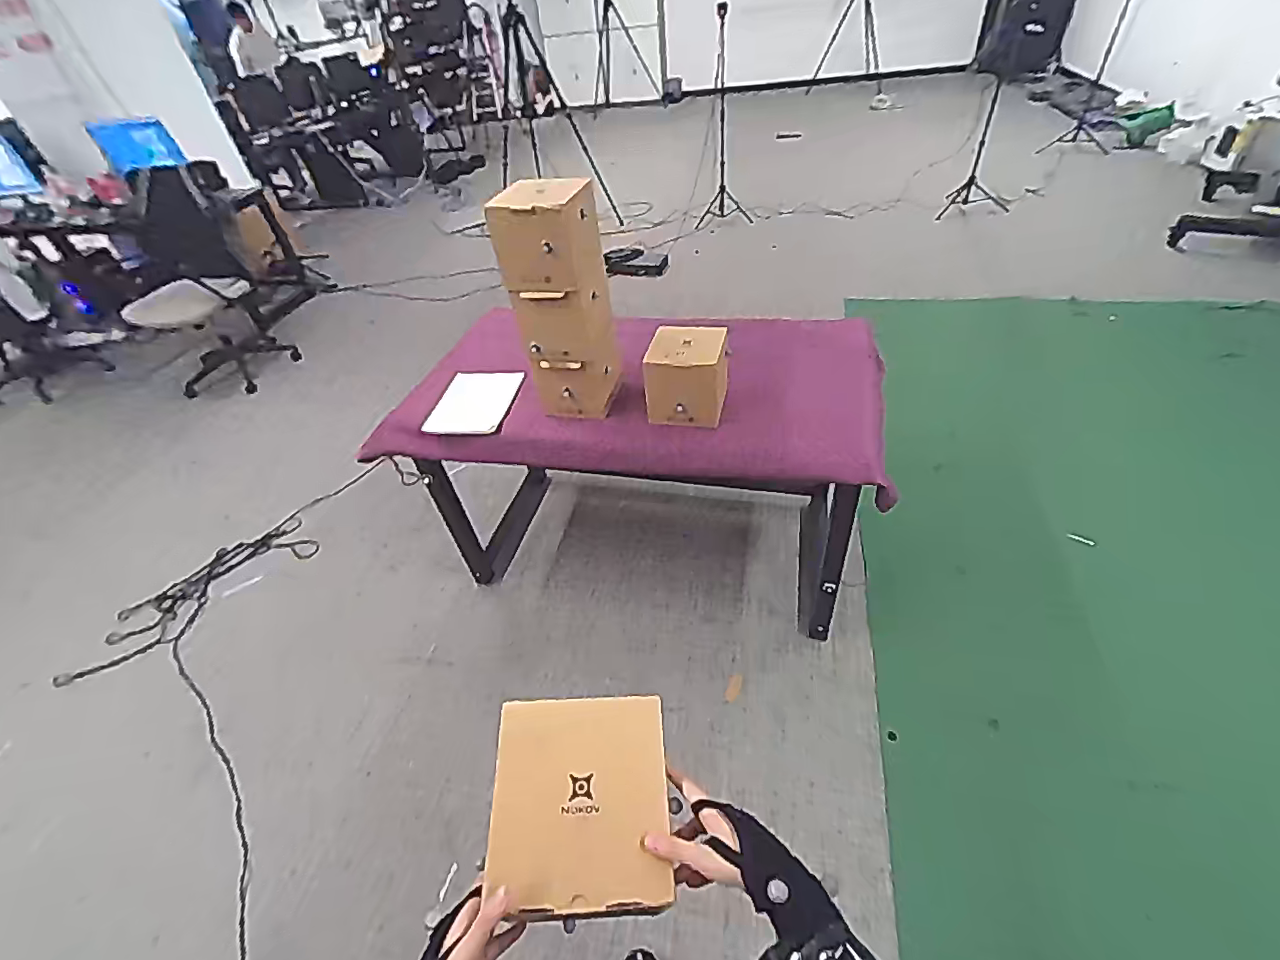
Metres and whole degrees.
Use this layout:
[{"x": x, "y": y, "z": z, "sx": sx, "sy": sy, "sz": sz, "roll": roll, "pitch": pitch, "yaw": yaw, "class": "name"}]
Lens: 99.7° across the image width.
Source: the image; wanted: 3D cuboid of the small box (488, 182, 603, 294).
[{"x": -0.184, "y": -0.499, "z": 1.121, "sx": 0.168, "sy": 0.176, "sz": 0.179, "roll": 7, "pitch": 44, "yaw": 15, "class": "small box"}]

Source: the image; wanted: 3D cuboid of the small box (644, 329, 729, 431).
[{"x": 0.114, "y": -0.239, "z": 1.277, "sx": 0.168, "sy": 0.176, "sz": 0.179, "roll": 5, "pitch": 43, "yaw": 15, "class": "small box"}]

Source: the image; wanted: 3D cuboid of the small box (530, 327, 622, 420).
[{"x": -0.149, "y": -0.267, "z": 1.350, "sx": 0.168, "sy": 0.176, "sz": 0.179, "roll": 6, "pitch": 45, "yaw": 14, "class": "small box"}]

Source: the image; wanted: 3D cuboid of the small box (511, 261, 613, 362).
[{"x": -0.167, "y": -0.384, "z": 1.234, "sx": 0.168, "sy": 0.176, "sz": 0.179, "roll": 6, "pitch": 43, "yaw": 15, "class": "small box"}]
